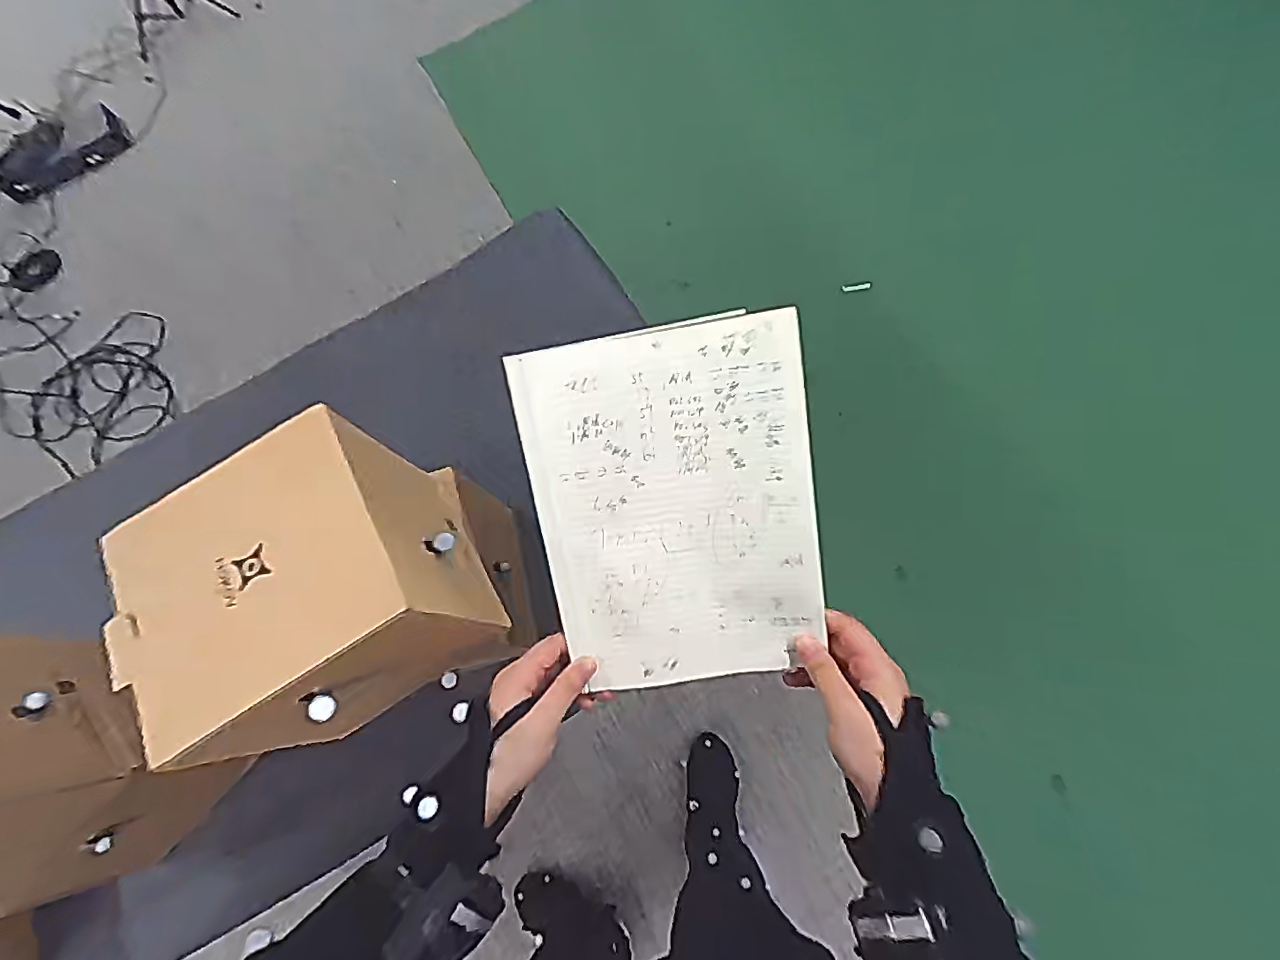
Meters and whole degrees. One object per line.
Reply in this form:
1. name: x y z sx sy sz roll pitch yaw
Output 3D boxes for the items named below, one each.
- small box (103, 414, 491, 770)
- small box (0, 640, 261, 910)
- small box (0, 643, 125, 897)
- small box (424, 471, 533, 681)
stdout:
1. small box: -0.239 0.084 0.421 0.179 0.176 0.168 -33 71 -2
2. small box: -0.557 0.293 0.576 0.168 0.176 0.179 40 82 16
3. small box: -0.578 0.247 0.419 0.168 0.176 0.179 43 83 17
4. small box: -0.230 0.115 0.582 0.168 0.176 0.179 -17 71 3
